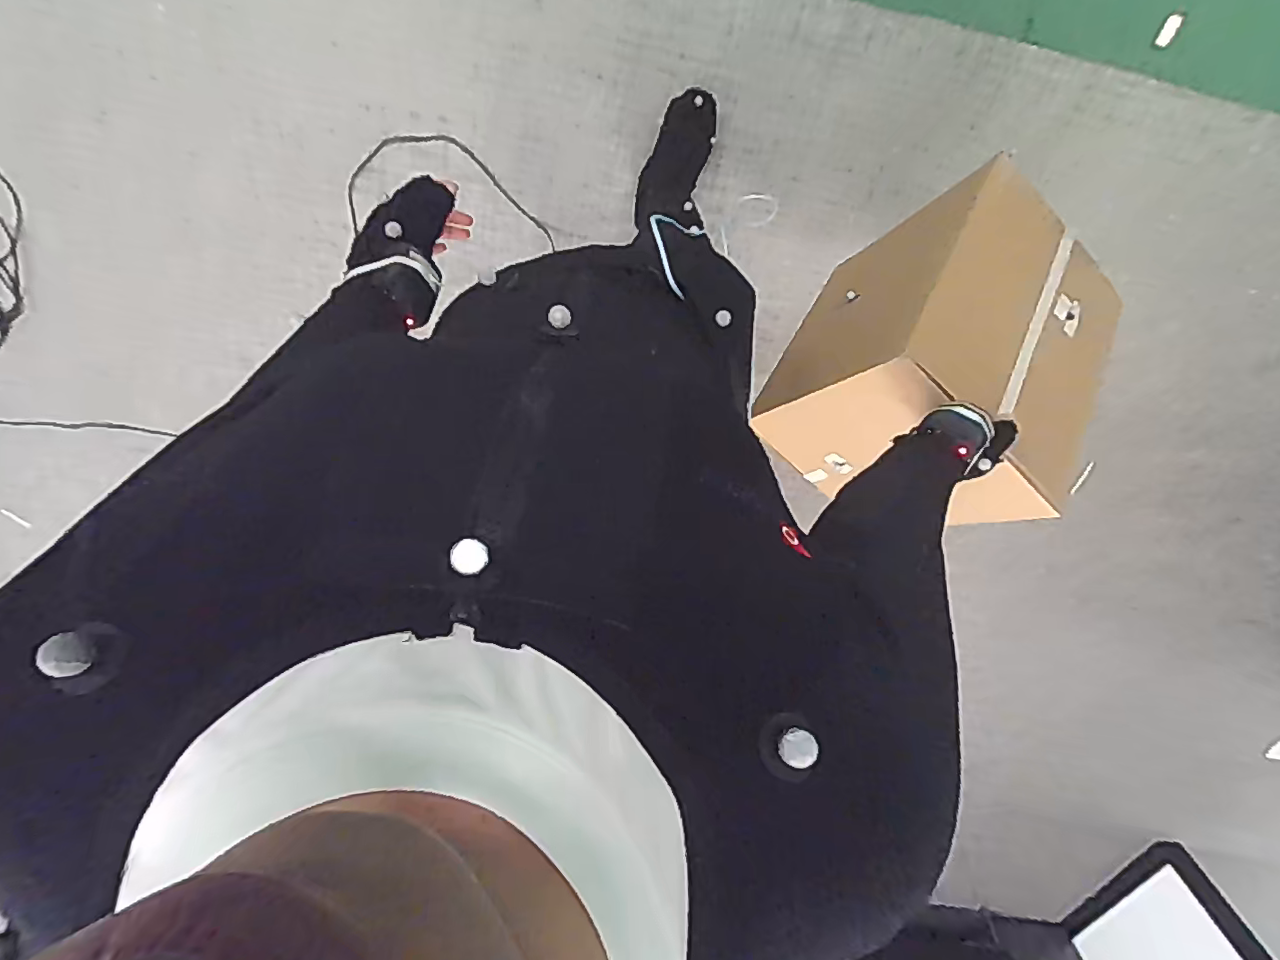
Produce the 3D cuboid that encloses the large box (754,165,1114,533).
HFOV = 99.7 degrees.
[{"bbox_3d":[0.450,-0.171,0.852,0.320,0.408,0.320,39,158,-15],"label":"large box"}]
